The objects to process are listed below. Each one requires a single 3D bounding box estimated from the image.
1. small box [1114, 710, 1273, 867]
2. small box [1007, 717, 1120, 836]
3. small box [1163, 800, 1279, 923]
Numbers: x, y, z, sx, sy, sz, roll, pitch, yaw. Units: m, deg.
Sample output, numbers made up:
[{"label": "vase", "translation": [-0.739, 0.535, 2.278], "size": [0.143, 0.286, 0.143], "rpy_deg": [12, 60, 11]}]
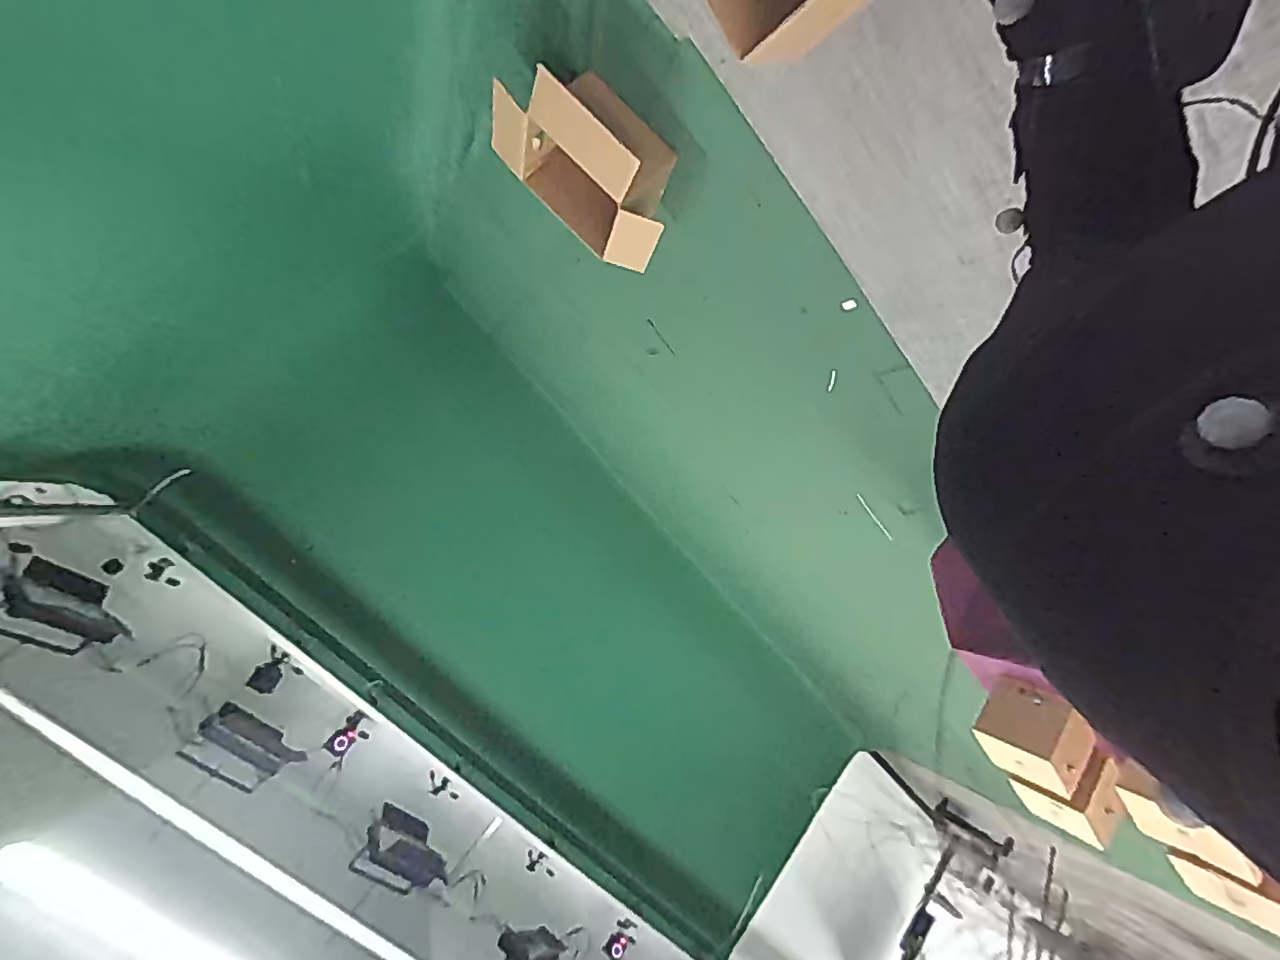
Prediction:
[{"label": "small box", "translation": [1.068, 0.582, 1.044], "size": [0.179, 0.176, 0.168], "rpy_deg": [49, 160, -20]}, {"label": "small box", "translation": [1.084, 0.746, 1.376], "size": [0.179, 0.176, 0.168], "rpy_deg": [49, 160, -22]}, {"label": "small box", "translation": [1.219, 0.741, 1.093], "size": [0.179, 0.176, 0.168], "rpy_deg": [49, 160, -17]}]
